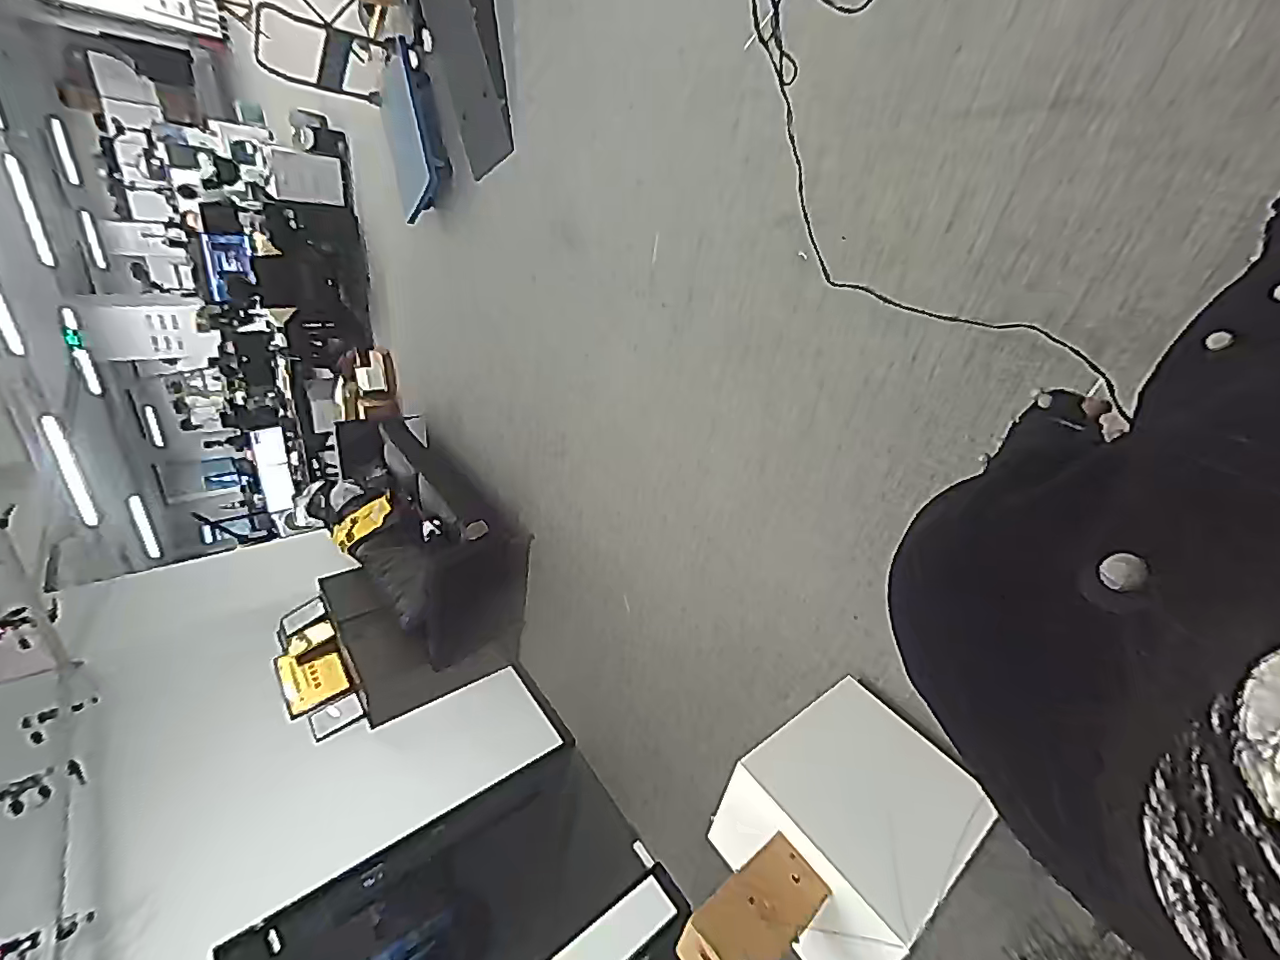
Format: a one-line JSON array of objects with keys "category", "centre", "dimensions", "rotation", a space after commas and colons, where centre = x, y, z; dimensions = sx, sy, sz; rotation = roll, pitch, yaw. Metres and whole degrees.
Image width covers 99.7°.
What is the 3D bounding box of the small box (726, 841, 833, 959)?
[{"category": "small box", "centre": [0.340, 1.039, 1.318], "dimensions": [0.168, 0.176, 0.179], "rotation": [37, 130, 40]}]
